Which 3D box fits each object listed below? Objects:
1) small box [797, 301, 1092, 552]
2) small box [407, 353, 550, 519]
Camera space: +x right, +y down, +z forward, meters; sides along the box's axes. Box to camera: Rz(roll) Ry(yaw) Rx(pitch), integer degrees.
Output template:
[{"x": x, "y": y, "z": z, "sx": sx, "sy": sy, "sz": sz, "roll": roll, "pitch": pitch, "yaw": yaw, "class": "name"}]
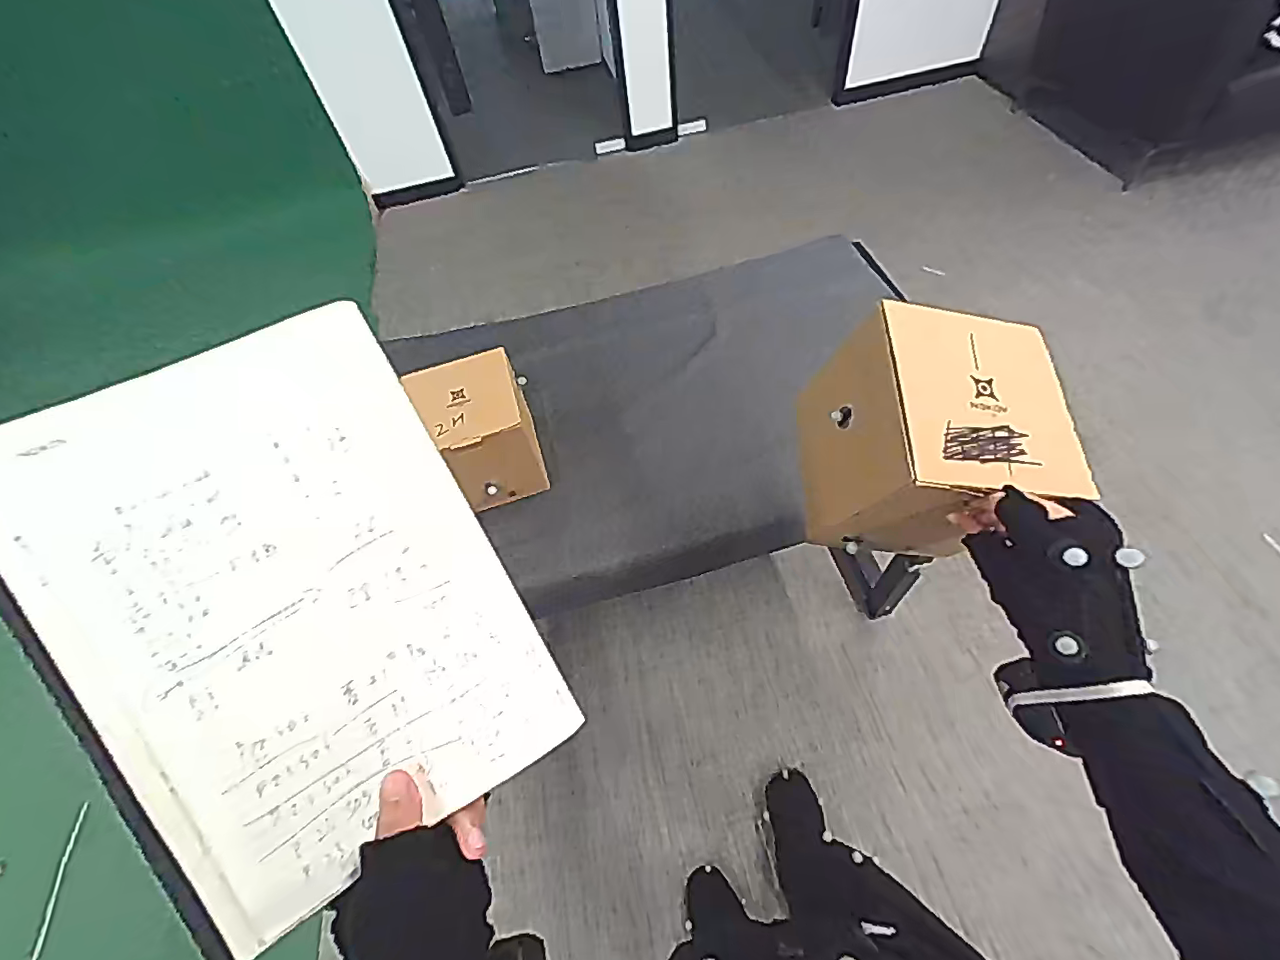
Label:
[{"x": 0.269, "y": -0.038, "z": 0.524, "sx": 0.168, "sy": 0.176, "sz": 0.179, "roll": 7, "pitch": 64, "yaw": -11, "class": "small box"}, {"x": -0.254, "y": -0.067, "z": 0.862, "sx": 0.168, "sy": 0.176, "sz": 0.179, "roll": -18, "pitch": 55, "yaw": -5, "class": "small box"}]
